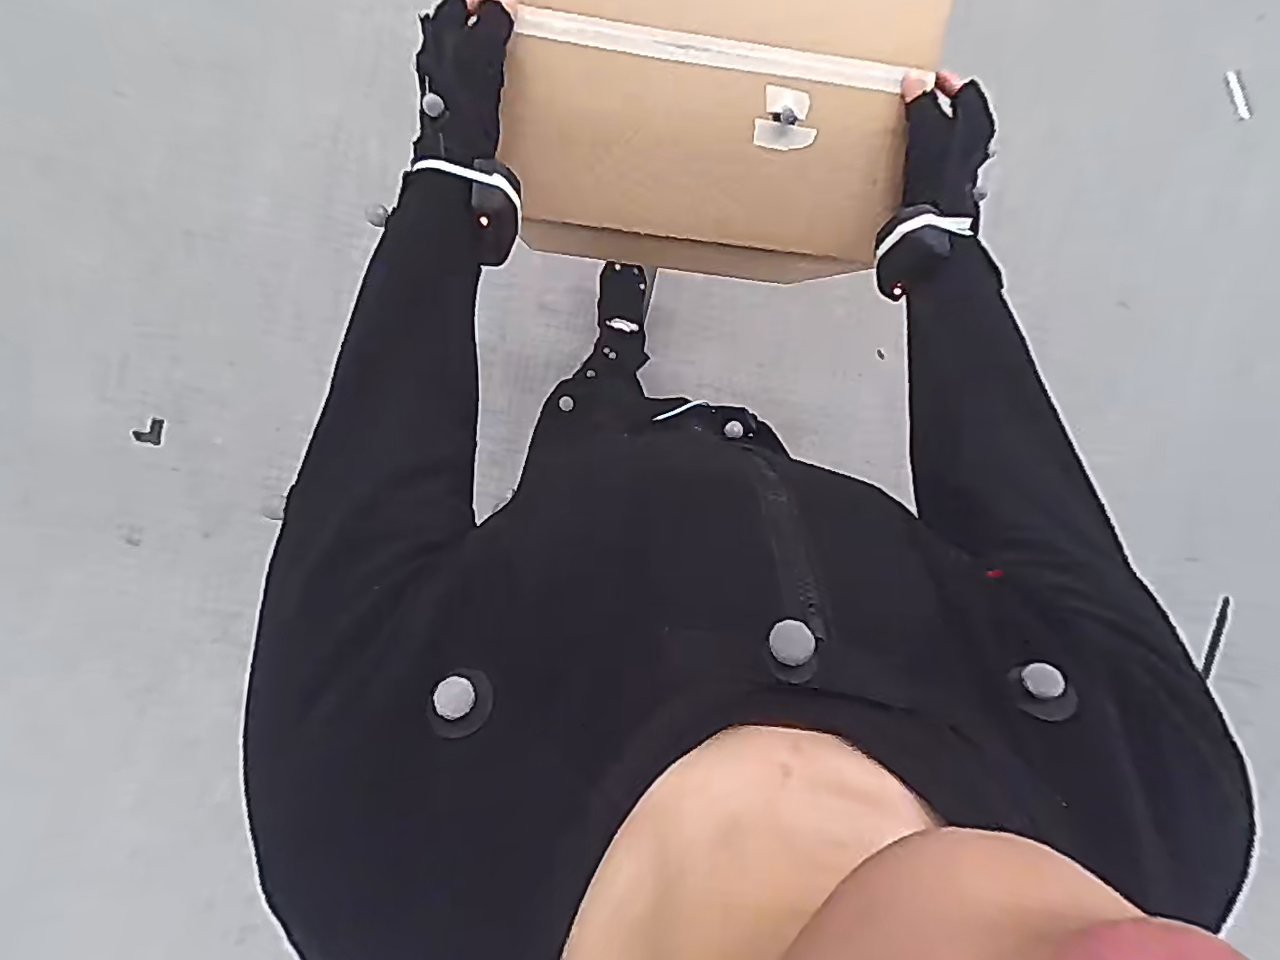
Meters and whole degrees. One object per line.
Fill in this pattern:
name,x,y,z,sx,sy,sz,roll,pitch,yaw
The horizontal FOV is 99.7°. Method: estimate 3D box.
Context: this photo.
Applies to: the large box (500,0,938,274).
large box,0.061,-0.440,0.644,0.408,0.320,0.320,5,107,-6
